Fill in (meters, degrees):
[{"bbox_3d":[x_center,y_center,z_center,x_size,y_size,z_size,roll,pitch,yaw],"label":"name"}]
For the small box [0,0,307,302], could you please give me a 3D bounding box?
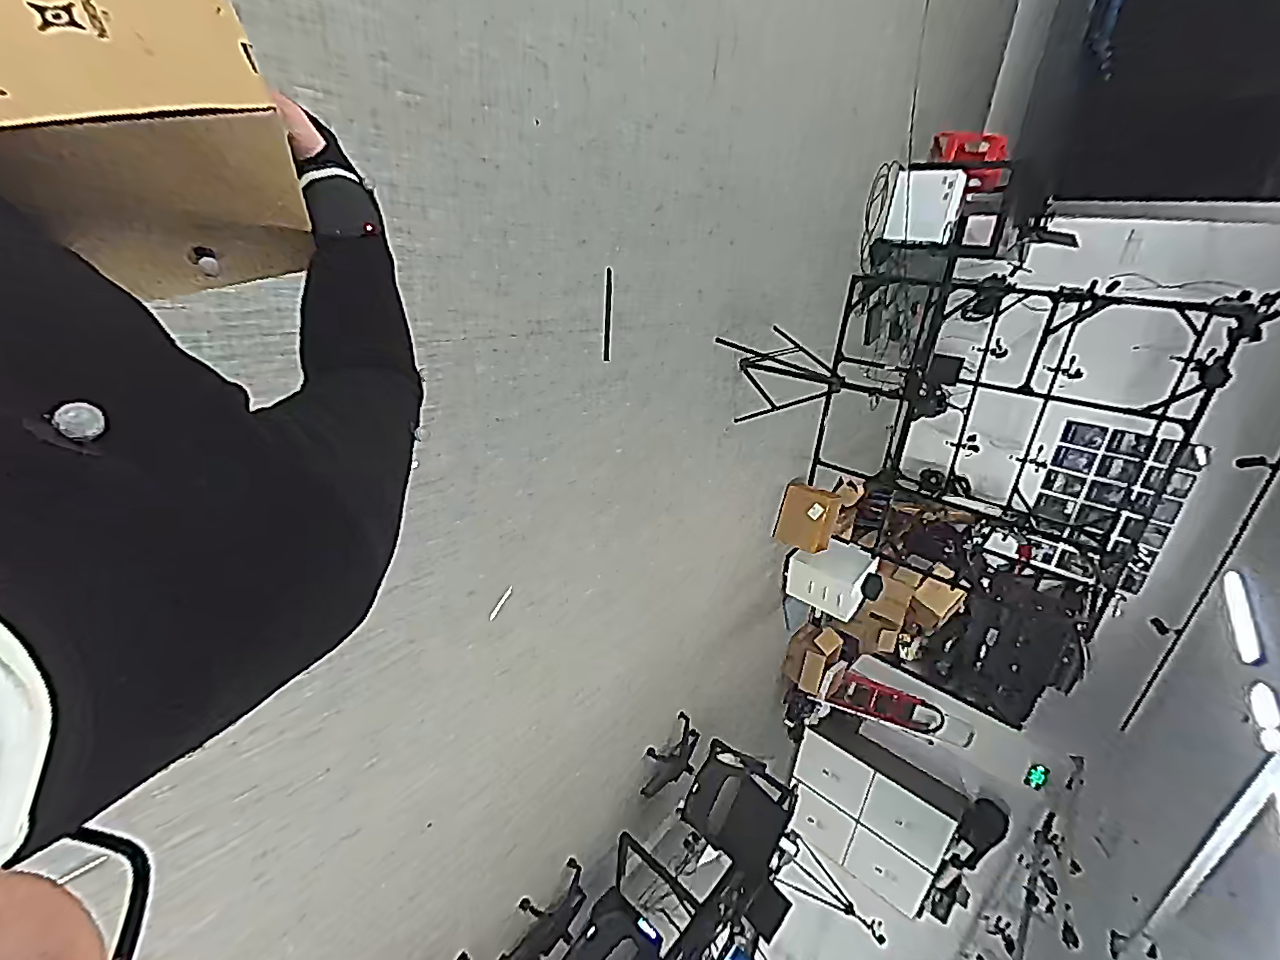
[{"bbox_3d":[-0.396,-0.274,0.437,0.179,0.168,0.176,-26,171,-27],"label":"small box"}]
